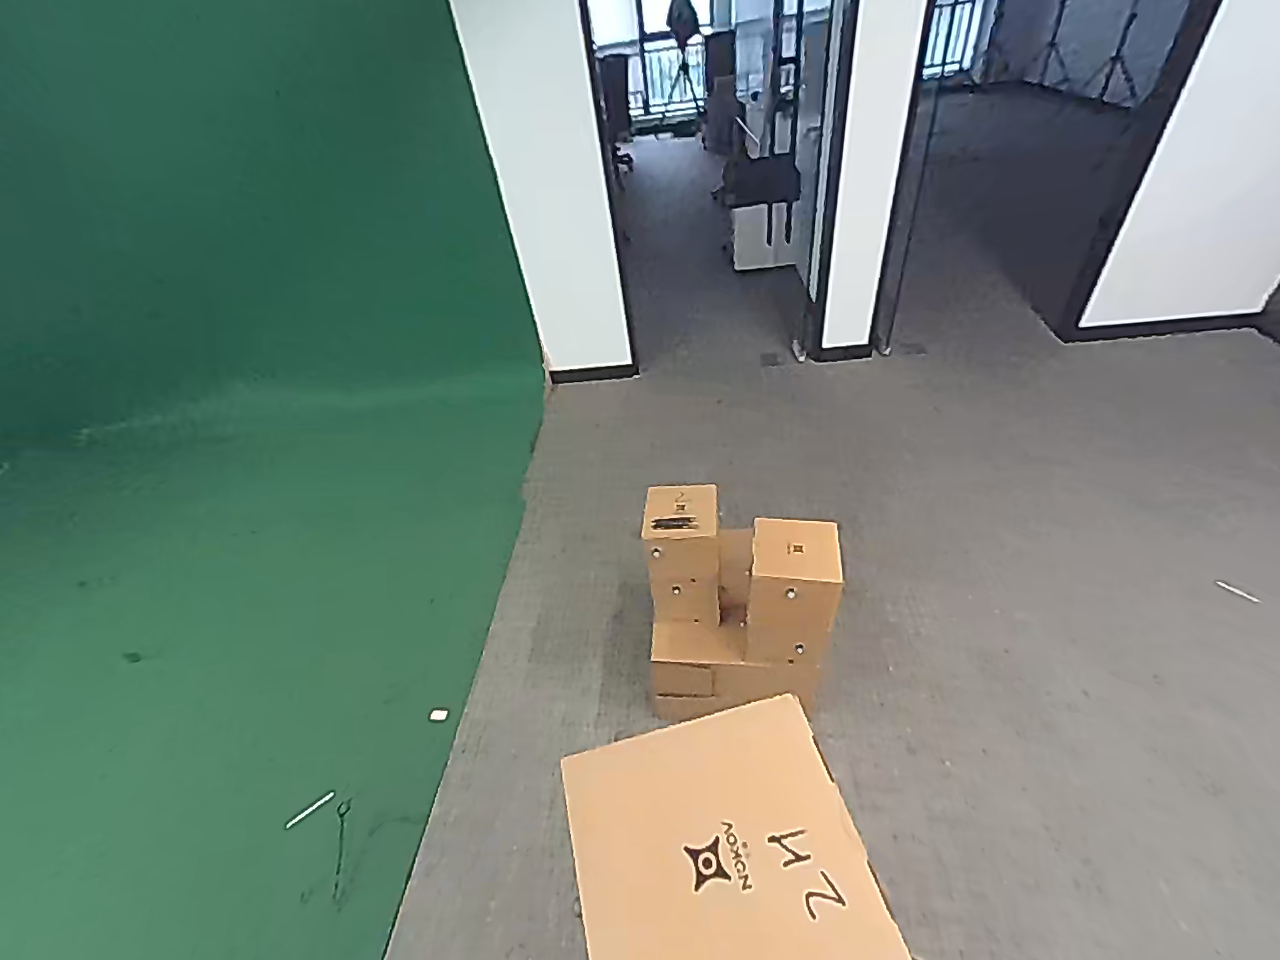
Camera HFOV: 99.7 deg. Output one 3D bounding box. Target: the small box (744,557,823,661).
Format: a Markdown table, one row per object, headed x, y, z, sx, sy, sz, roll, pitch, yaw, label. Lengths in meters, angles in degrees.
| x | y | z | sx | sy | sz | roll | pitch | yaw | label |
| --- | --- | --- | --- | --- | --- | --- | --- | --- | --- |
| 0.335 | 0.306 | 1.281 | 0.168 | 0.176 | 0.179 | 3 | 41 | 11 | small box |

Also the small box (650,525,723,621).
| x | y | z | sx | sy | sz | roll | pitch | yaw | label |
| --- | --- | --- | --- | --- | --- | --- | --- | --- | --- |
| 0.127 | 0.239 | 1.398 | 0.168 | 0.176 | 0.179 | 0 | 41 | 12 | small box |

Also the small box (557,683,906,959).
| x | y | z | sx | sy | sz | roll | pitch | yaw | label |
| --- | --- | --- | --- | --- | --- | --- | --- | --- | --- |
| 0.048 | 0.275 | 0.392 | 0.179 | 0.176 | 0.168 | -12 | 51 | -7 | small box |

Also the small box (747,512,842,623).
| x | y | z | sx | sy | sz | roll | pitch | yaw | label |
| --- | --- | --- | --- | --- | --- | --- | --- | --- | --- |
| 0.327 | 0.190 | 1.167 | 0.179 | 0.176 | 0.168 | 3 | 42 | 12 | small box |
